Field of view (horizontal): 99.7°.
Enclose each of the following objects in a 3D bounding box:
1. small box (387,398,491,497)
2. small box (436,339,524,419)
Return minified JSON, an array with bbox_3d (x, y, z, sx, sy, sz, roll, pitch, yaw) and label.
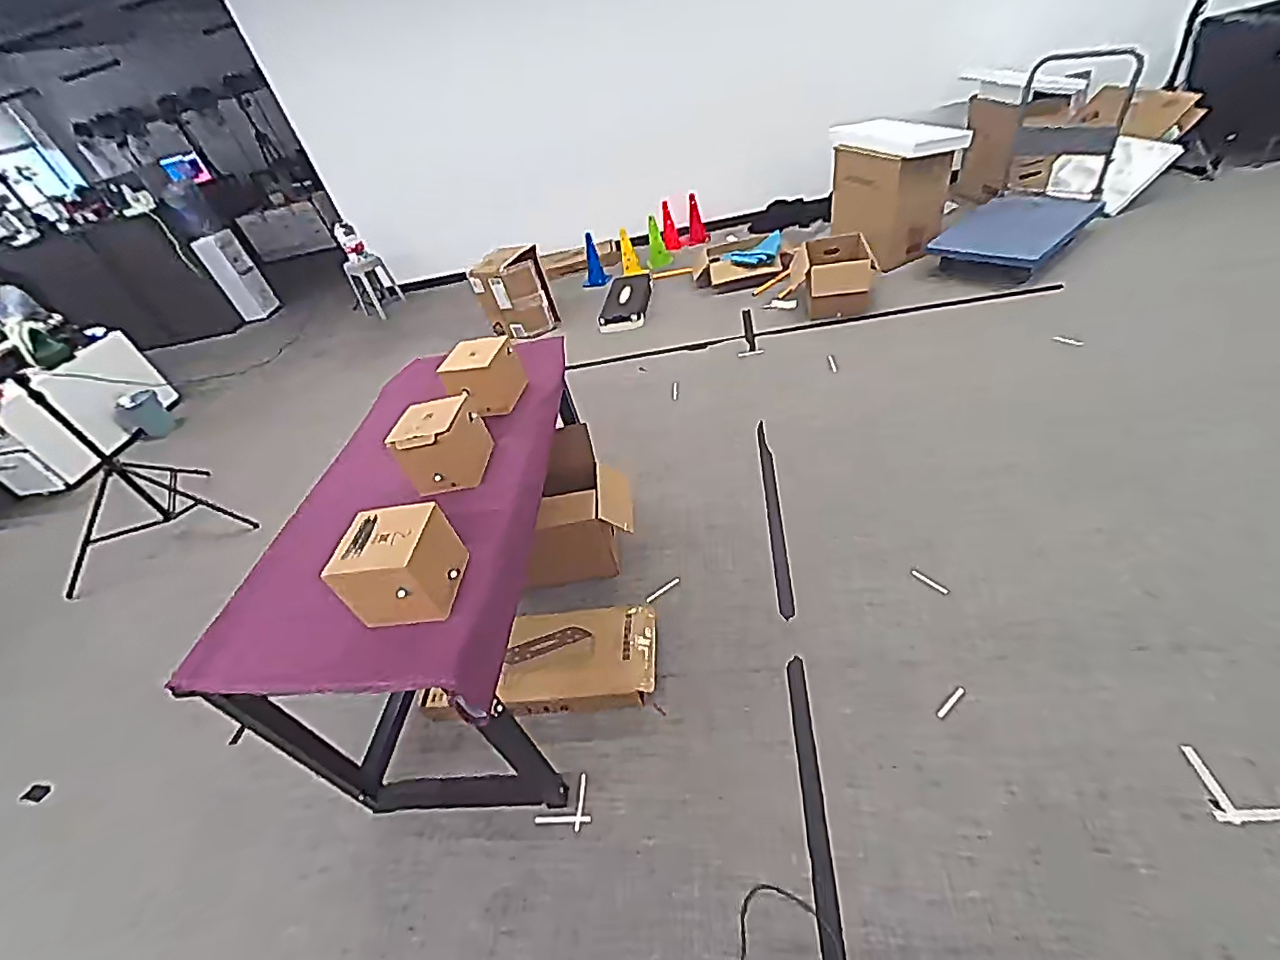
[{"bbox_3d":[-0.498,-0.081,1.372,0.168,0.176,0.179,-10,40,11],"label":"small box"},{"bbox_3d":[-0.465,-0.294,1.607,0.168,0.176,0.179,-4,41,15],"label":"small box"}]
